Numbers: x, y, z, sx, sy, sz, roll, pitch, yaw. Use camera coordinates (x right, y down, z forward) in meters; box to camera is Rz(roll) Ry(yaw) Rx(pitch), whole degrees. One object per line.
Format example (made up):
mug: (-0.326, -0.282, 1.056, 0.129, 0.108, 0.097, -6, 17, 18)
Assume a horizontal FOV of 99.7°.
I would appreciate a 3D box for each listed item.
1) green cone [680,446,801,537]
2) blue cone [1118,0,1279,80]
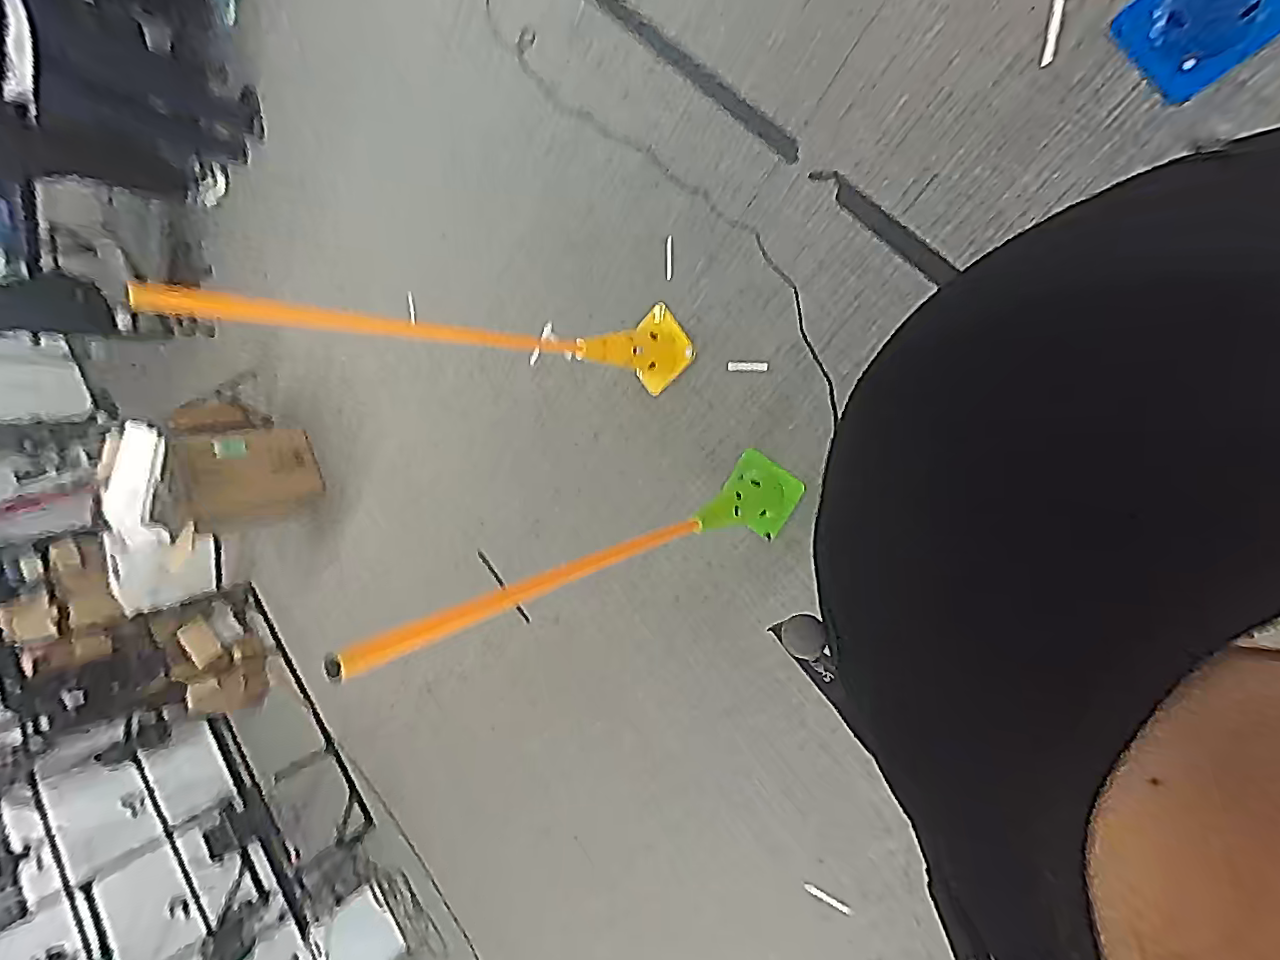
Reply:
green cone: (0.219, 0.059, 1.352, 0.202, 0.368, 0.200, 39, 120, 26)
blue cone: (0.822, -0.751, 0.738, 0.193, 0.380, 0.192, -34, 78, 37)
